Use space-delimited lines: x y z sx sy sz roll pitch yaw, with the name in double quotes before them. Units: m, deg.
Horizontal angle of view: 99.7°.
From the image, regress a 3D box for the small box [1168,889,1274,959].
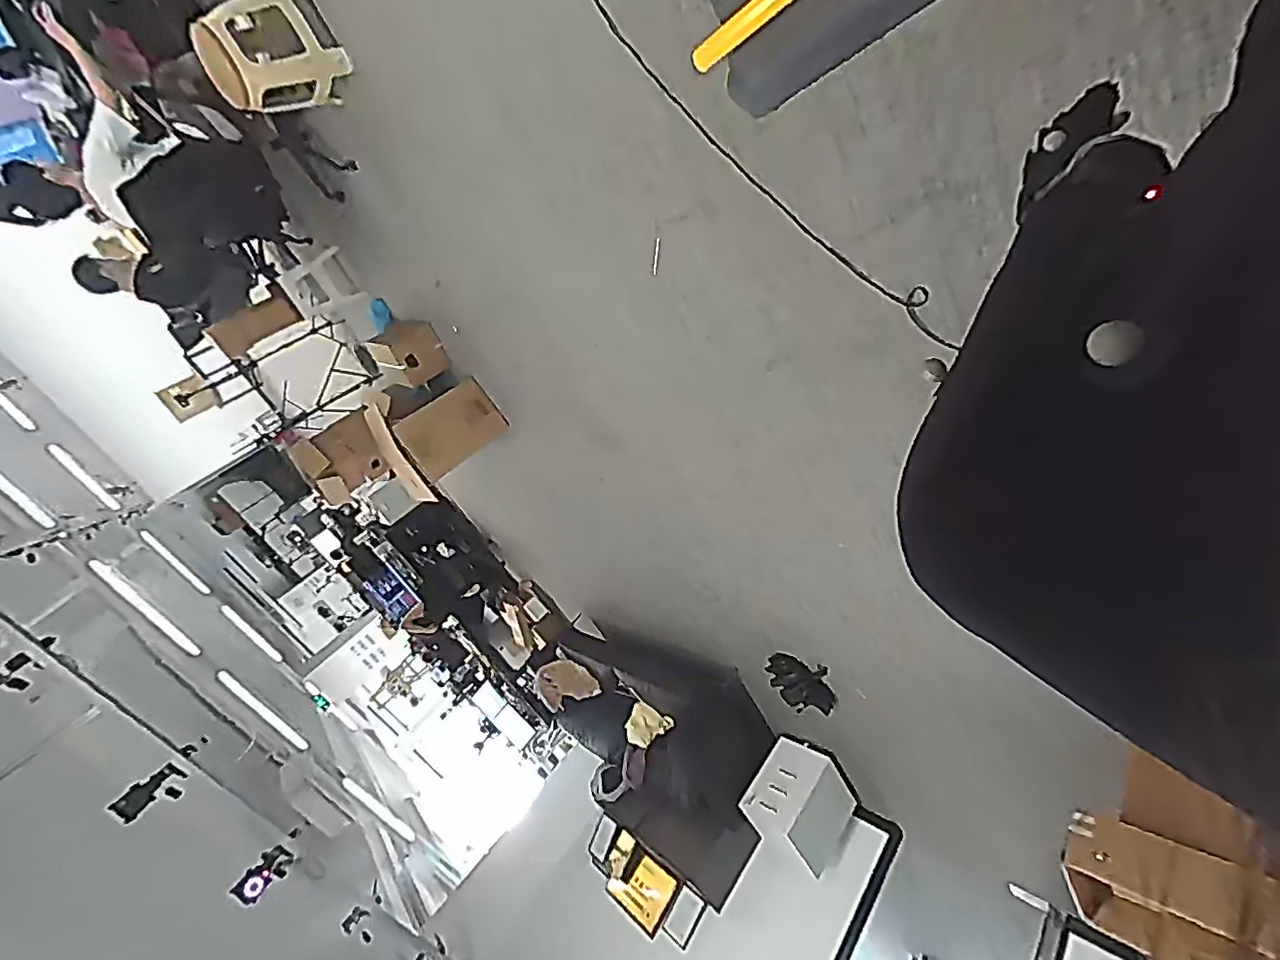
"small box" 1.548 1.252 1.438 0.168 0.176 0.179 -7 121 55
